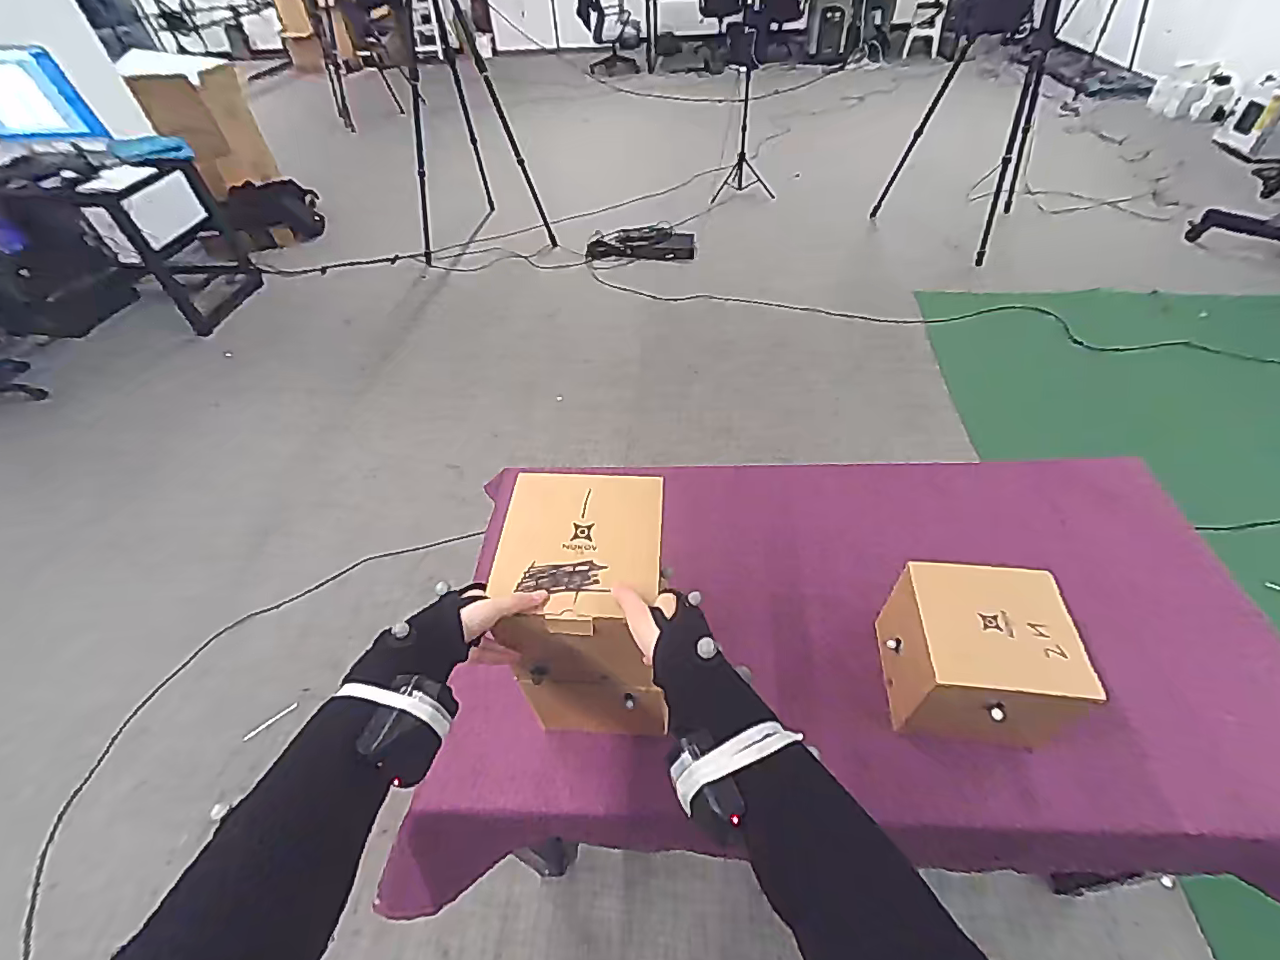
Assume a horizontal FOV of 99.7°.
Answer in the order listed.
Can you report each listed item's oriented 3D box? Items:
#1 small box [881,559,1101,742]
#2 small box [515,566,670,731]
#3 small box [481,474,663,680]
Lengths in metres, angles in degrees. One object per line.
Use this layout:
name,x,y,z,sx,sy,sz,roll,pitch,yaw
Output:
small box,0.425,0.222,0.699,0.179,0.176,0.168,4,48,9
small box,-0.051,0.229,0.739,0.179,0.176,0.168,1,47,5
small box,-0.061,0.113,0.615,0.168,0.176,0.179,1,49,4
